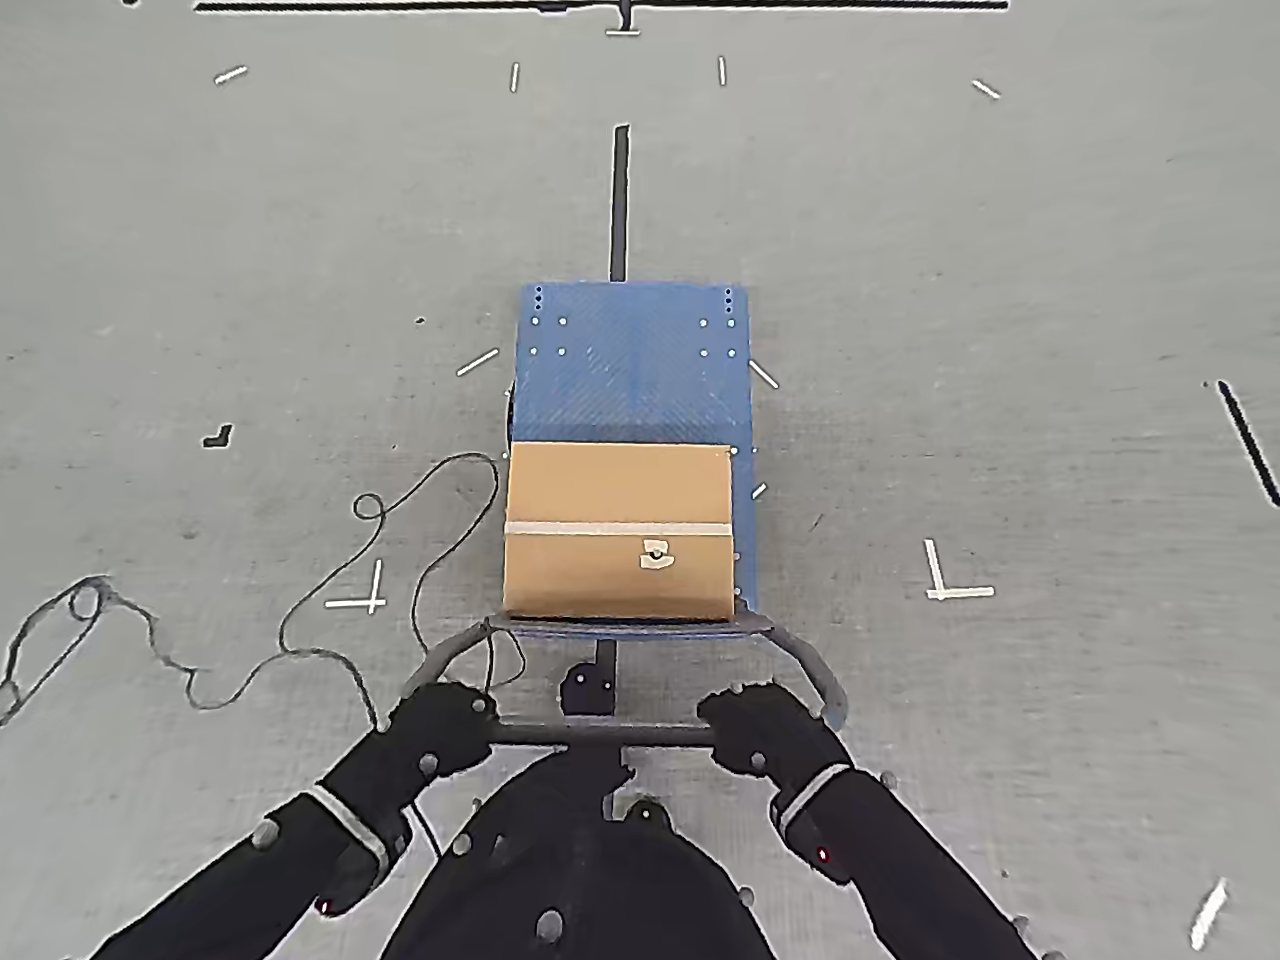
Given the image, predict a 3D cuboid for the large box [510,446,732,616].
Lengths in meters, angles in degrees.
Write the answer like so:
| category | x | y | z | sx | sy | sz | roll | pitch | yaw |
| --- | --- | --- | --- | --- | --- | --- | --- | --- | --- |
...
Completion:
| category | x | y | z | sx | sy | sz | roll | pitch | yaw |
| --- | --- | --- | --- | --- | --- | --- | --- | --- | --- |
| large box | -0.039 | 0.116 | 1.134 | 0.408 | 0.320 | 0.320 | 1 | 80 | -1 |
